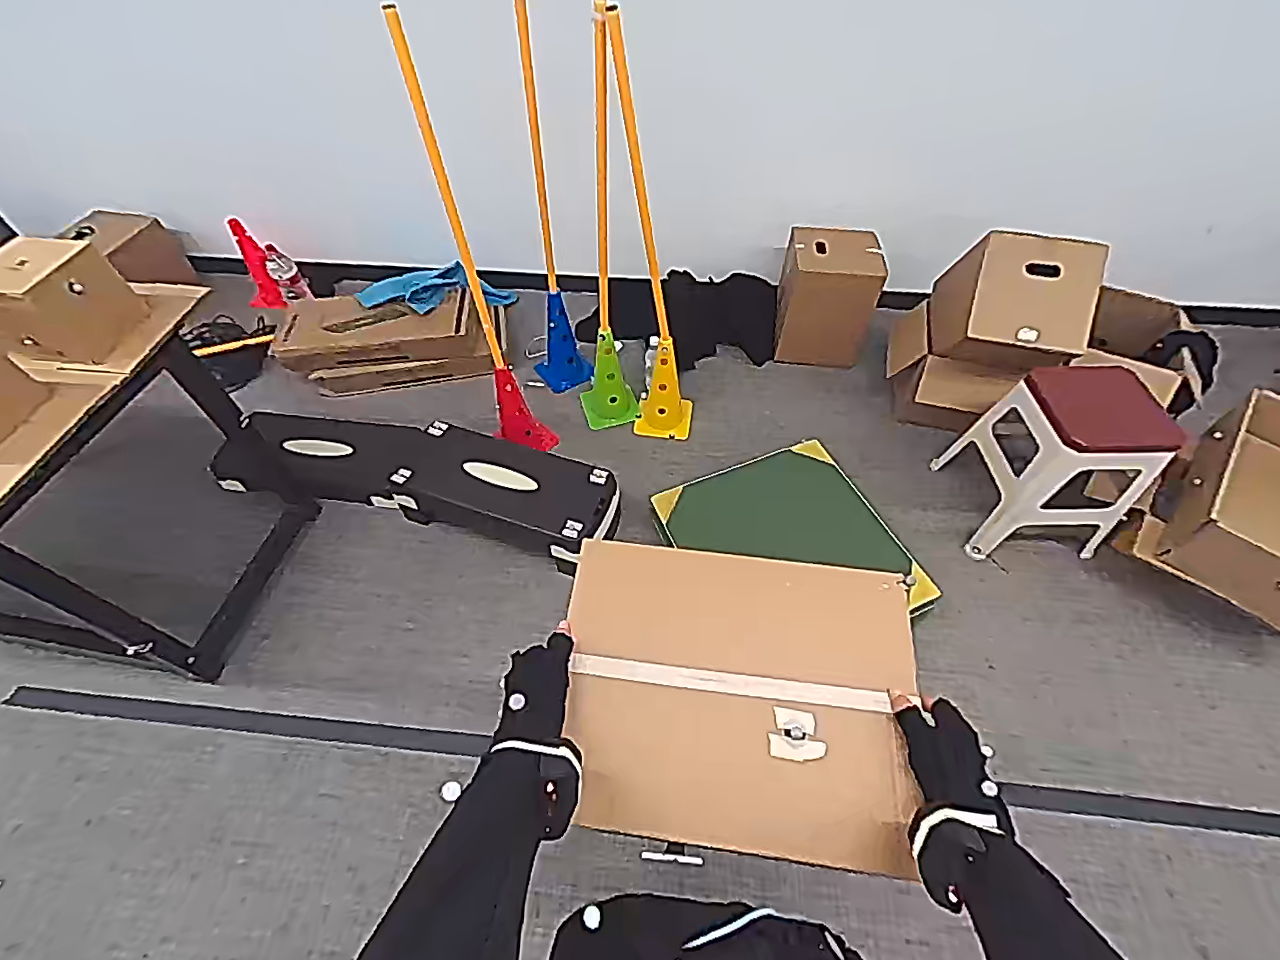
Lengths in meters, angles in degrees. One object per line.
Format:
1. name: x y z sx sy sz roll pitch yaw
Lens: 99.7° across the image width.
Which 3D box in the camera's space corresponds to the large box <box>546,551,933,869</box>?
1. large box: 0.114 0.318 0.753 0.408 0.320 0.320 6 59 4
